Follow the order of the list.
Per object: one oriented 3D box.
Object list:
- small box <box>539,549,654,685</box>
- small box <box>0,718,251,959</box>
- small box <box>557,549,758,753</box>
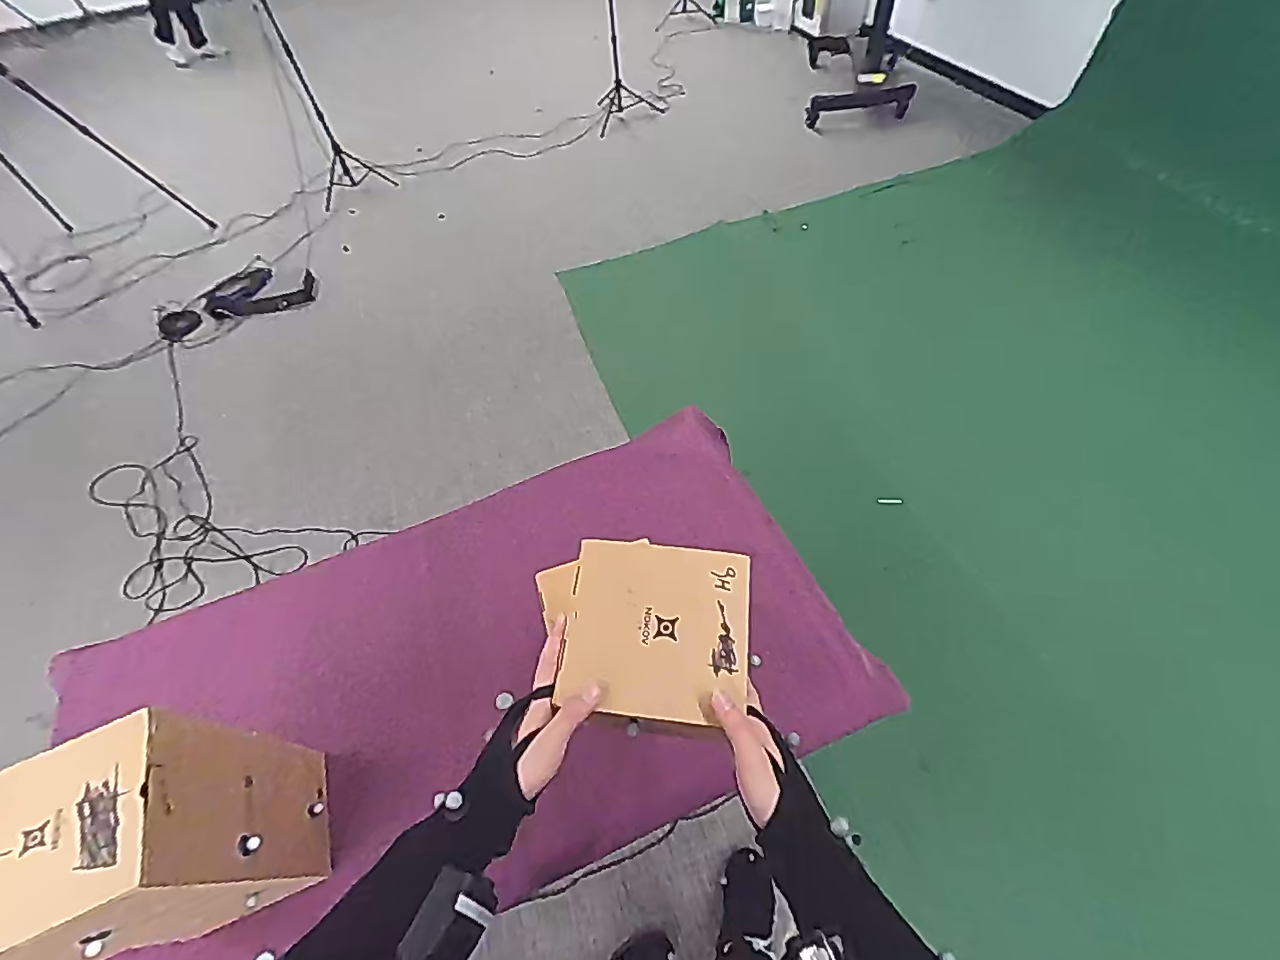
[{"bbox_3d":[-0.036,0.232,0.813,0.179,0.176,0.168,-17,56,-7],"label":"small box"},{"bbox_3d":[-0.526,0.370,0.543,0.179,0.176,0.168,-23,56,-12],"label":"small box"},{"bbox_3d":[0.025,0.190,0.583,0.179,0.176,0.168,6,60,5],"label":"small box"}]
